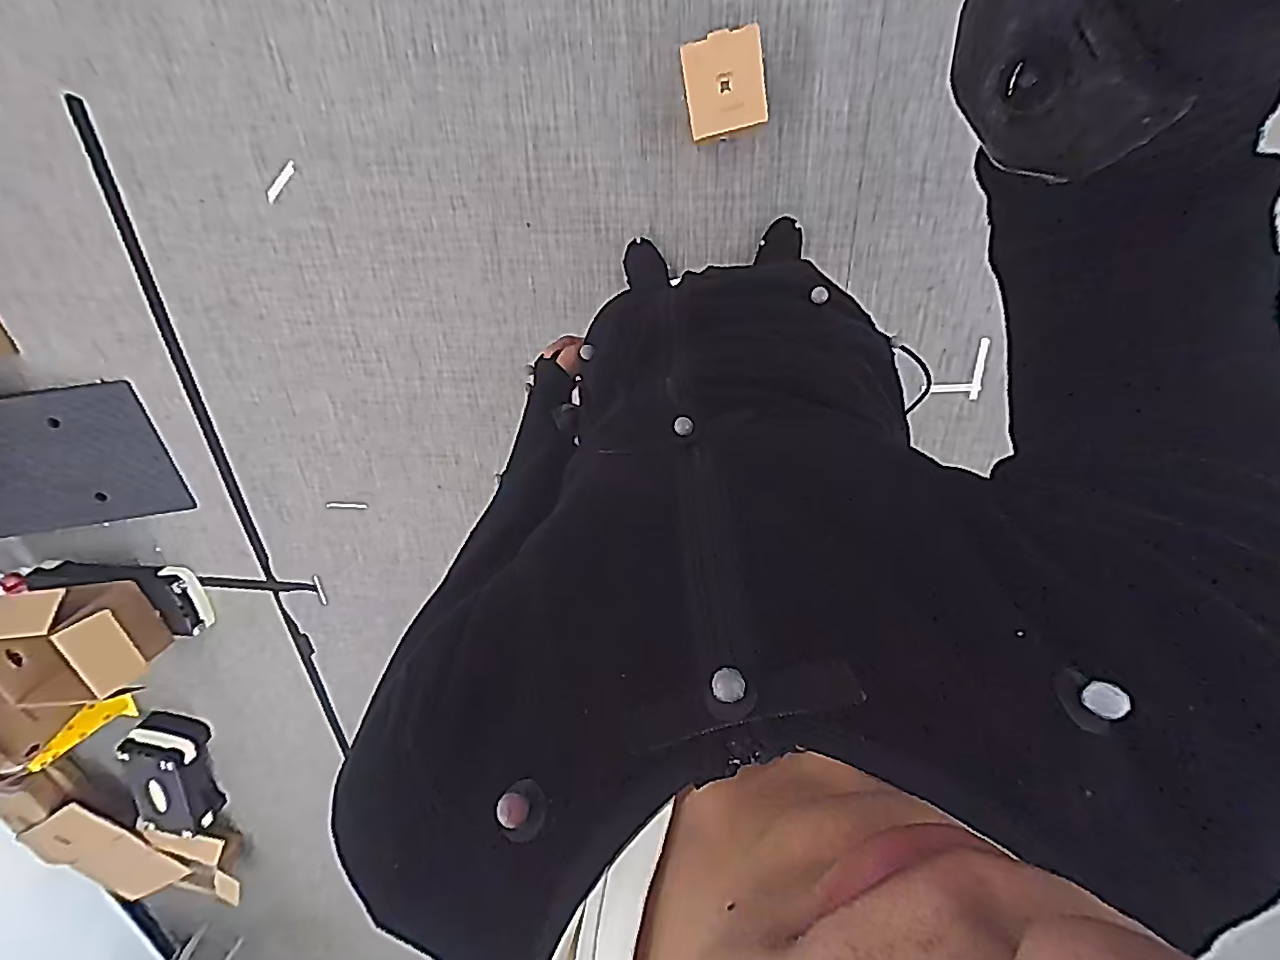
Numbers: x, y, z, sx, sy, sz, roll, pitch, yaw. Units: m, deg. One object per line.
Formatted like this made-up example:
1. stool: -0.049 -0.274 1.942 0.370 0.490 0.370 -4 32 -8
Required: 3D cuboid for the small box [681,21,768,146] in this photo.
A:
1. small box: 0.186 -0.867 1.201 0.168 0.176 0.179 -8 116 11
